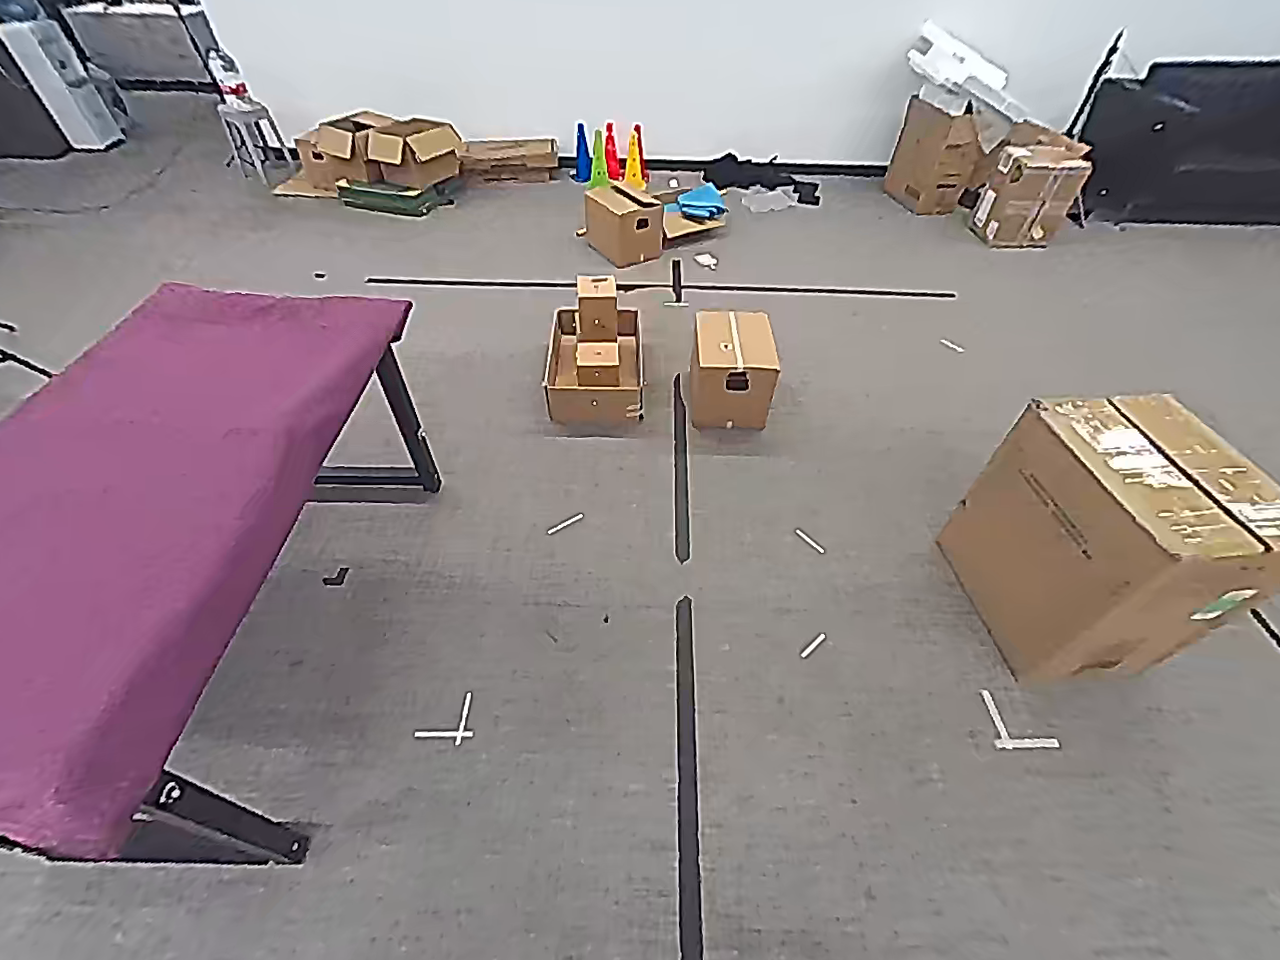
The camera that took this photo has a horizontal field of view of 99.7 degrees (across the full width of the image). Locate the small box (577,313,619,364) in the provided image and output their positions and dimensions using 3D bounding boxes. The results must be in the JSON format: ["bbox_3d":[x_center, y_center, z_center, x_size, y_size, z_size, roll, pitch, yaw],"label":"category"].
[{"bbox_3d":[-0.196,-0.652,2.481,0.179,0.176,0.168,-6,49,-8],"label":"small box"}]

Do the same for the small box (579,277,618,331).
[{"bbox_3d":[-0.183,-0.770,2.366,0.168,0.176,0.179,-3,49,-5],"label":"small box"}]

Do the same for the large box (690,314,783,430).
[{"bbox_3d":[0.391,-0.461,2.298,0.320,0.320,0.408,1,48,0],"label":"large box"}]
